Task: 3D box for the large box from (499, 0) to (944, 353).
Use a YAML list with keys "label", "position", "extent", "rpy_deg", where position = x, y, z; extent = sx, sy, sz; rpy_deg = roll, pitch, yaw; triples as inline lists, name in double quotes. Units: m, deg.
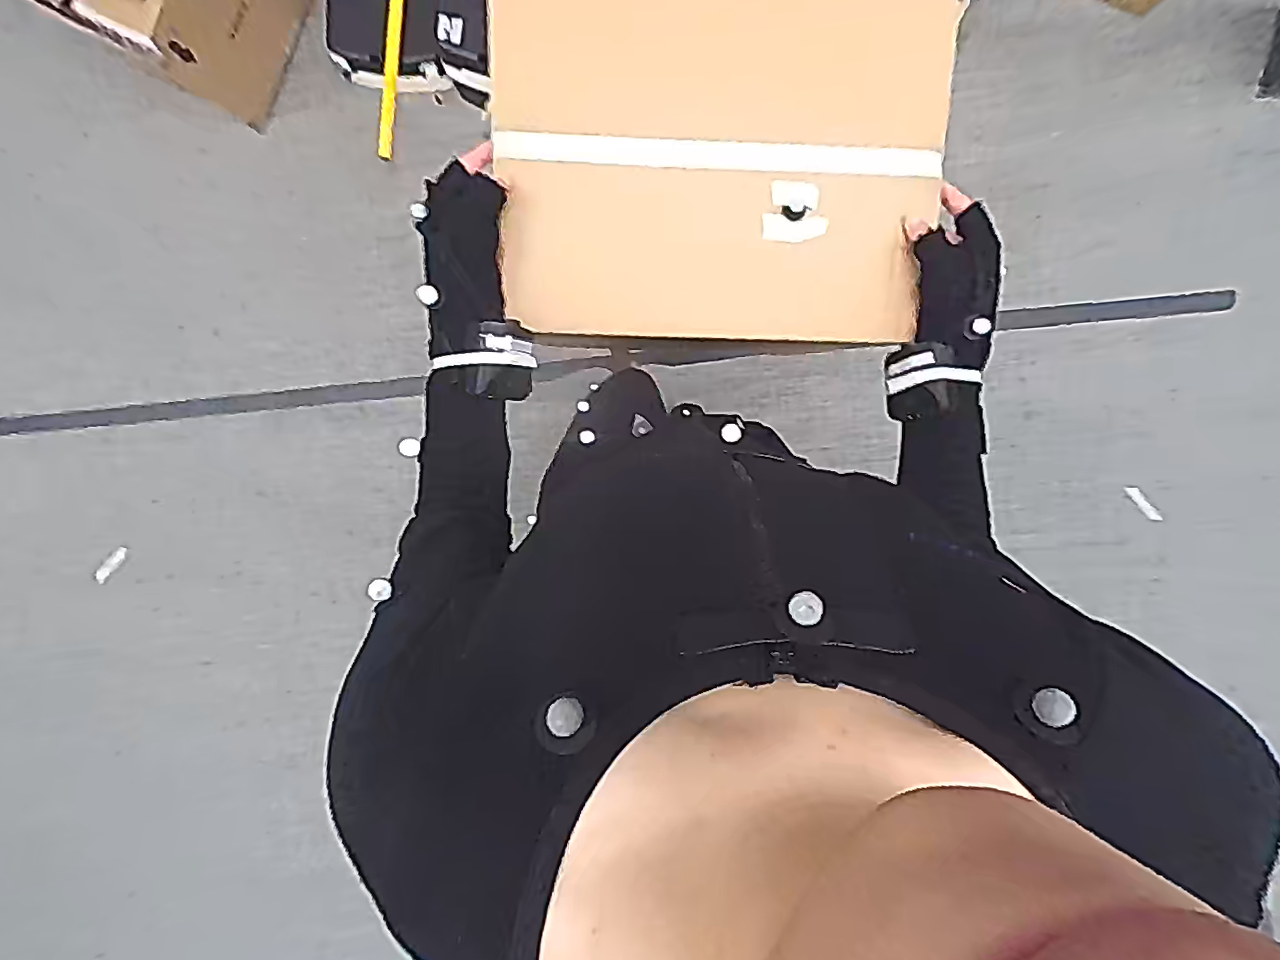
- label: "large box"
  position: [0.062, -0.322, 0.644]
  extent: [0.408, 0.320, 0.320]
  rpy_deg: [2, 101, -4]
